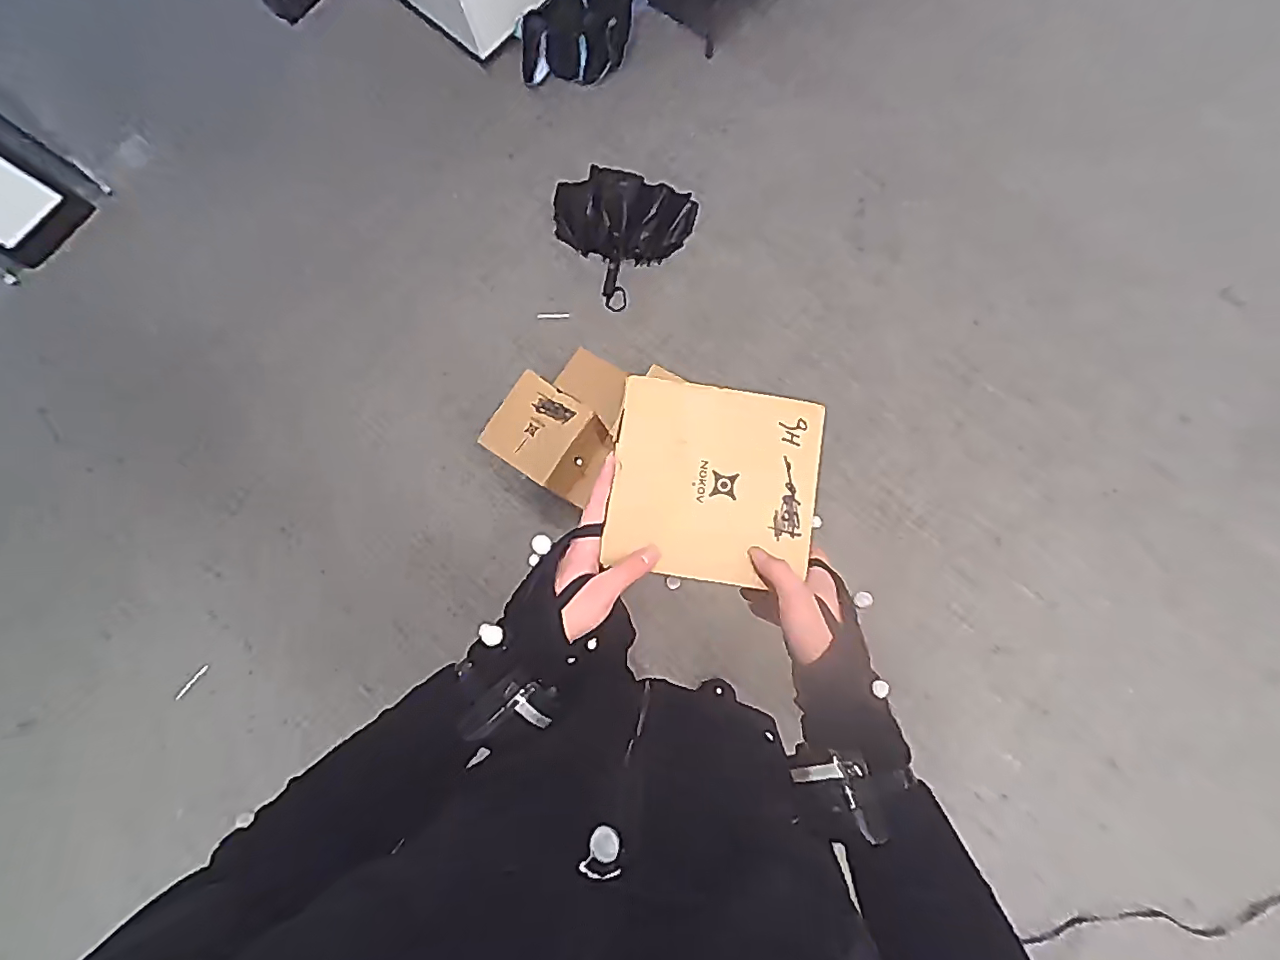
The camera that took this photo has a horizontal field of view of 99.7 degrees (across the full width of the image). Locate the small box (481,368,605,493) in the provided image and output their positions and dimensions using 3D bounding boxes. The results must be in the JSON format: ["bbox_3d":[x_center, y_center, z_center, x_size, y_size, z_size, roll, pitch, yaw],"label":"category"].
[{"bbox_3d":[-0.186,-0.093,1.112,0.168,0.176,0.179,34,87,11],"label":"small box"}]

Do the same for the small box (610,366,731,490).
[{"bbox_3d":[0.064,-0.094,1.090,0.179,0.176,0.168,29,80,11],"label":"small box"}]
